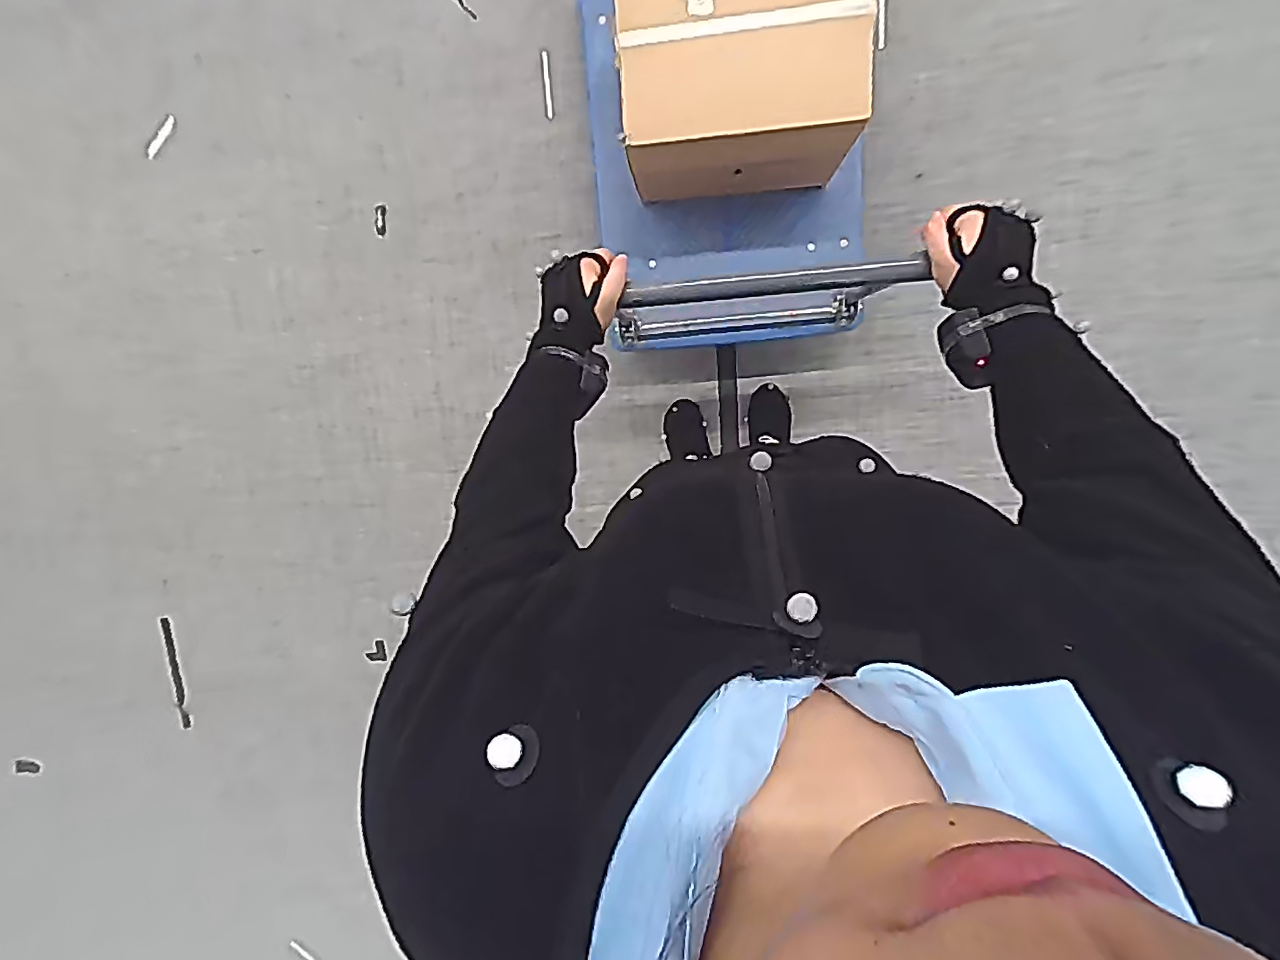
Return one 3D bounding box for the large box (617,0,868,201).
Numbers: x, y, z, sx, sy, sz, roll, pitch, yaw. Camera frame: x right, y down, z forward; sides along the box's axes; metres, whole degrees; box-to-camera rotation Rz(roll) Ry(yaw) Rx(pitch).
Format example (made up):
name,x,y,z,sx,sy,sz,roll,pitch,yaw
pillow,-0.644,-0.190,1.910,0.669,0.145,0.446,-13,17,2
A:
name,x,y,z,sx,sy,sz,roll,pitch,yaw
large box,0.183,-0.758,1.025,0.408,0.320,0.320,-3,100,7
